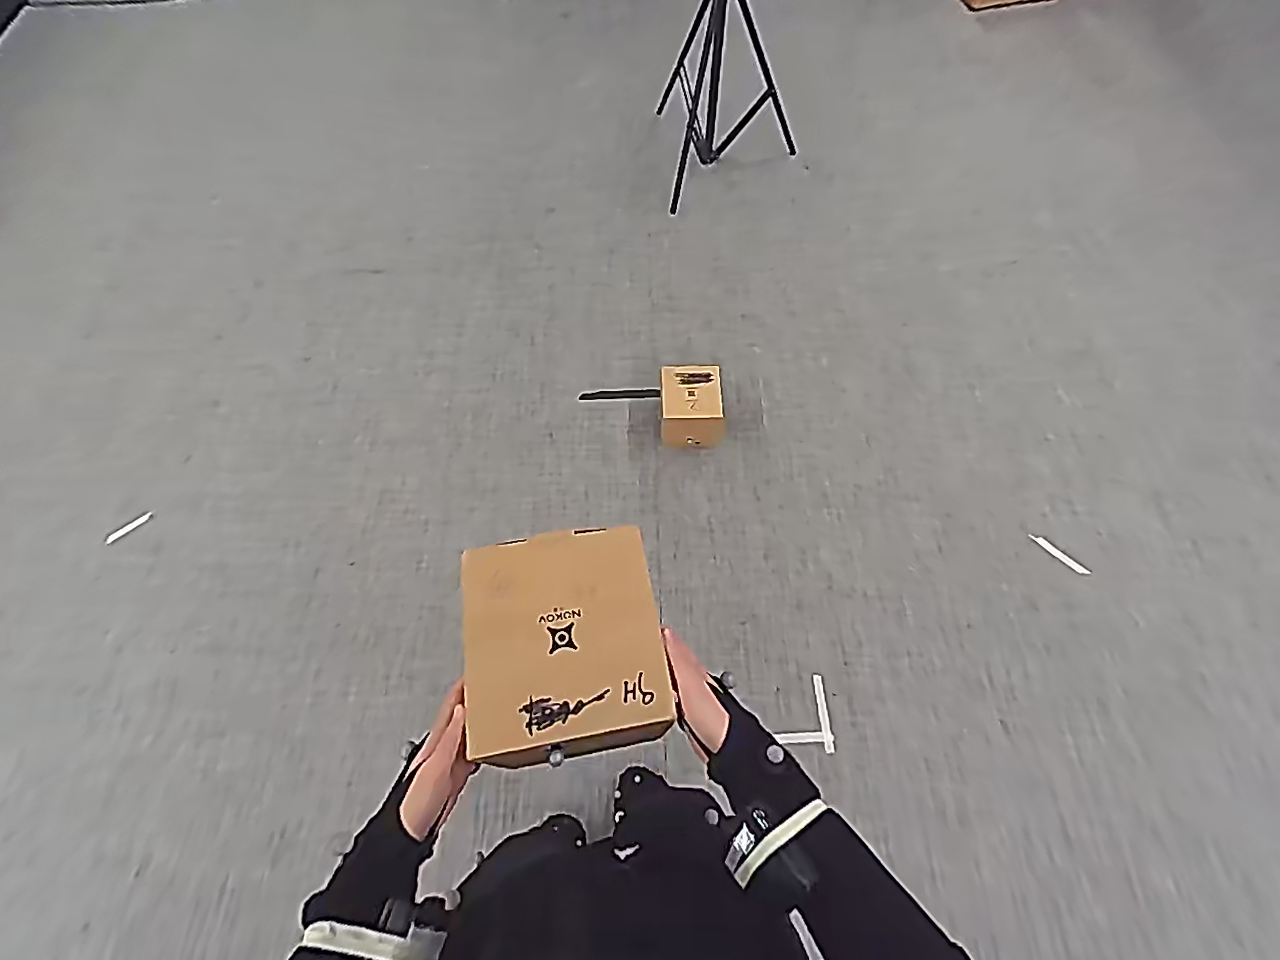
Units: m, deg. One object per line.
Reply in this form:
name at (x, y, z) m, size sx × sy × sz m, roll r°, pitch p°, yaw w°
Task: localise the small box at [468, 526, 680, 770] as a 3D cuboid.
small box at (-0.066, 0.167, 0.525) m, size 0.168 × 0.176 × 0.179 m, roll -8°, pitch 60°, yaw -7°
